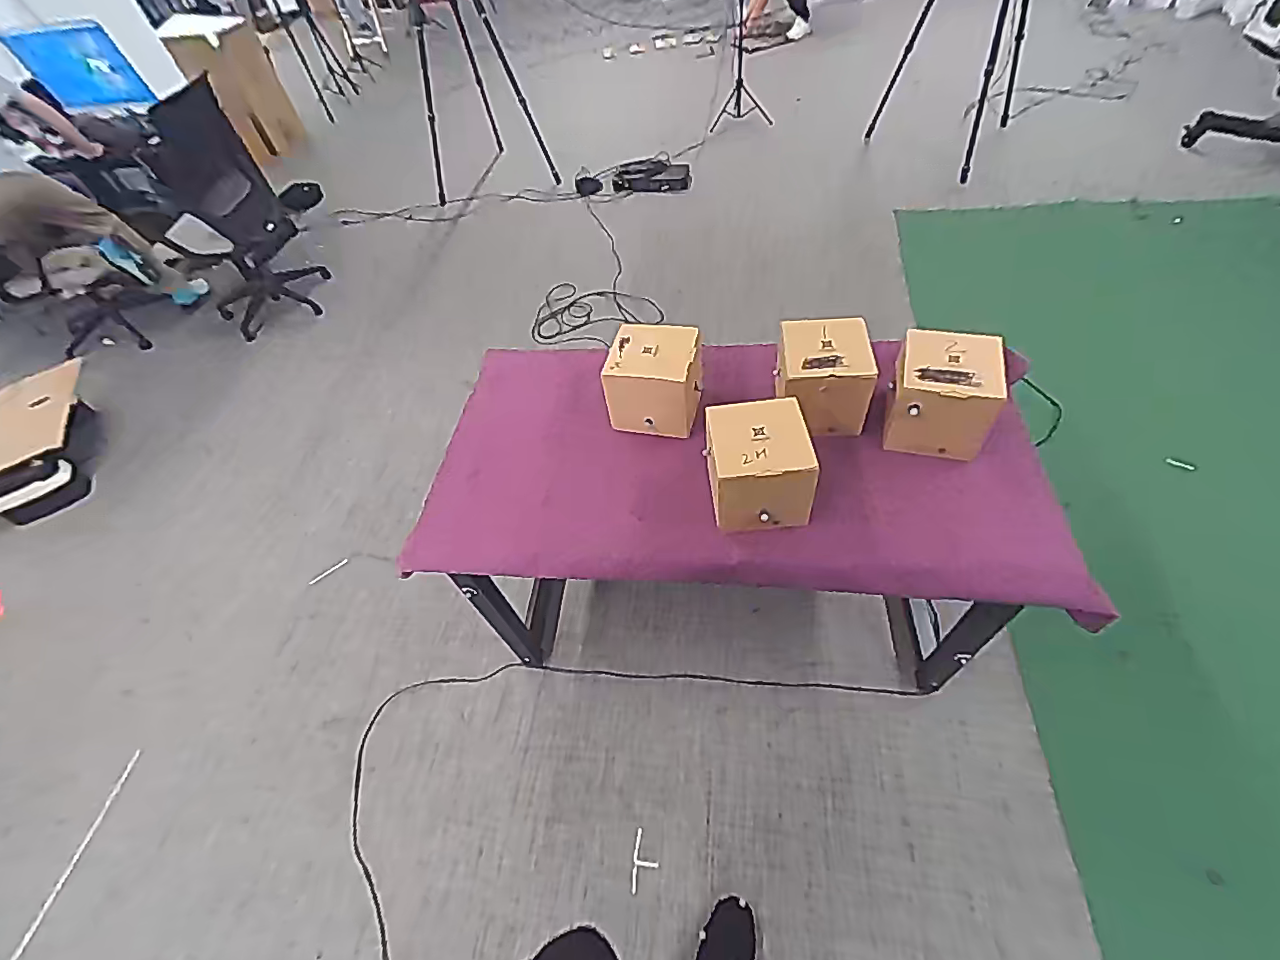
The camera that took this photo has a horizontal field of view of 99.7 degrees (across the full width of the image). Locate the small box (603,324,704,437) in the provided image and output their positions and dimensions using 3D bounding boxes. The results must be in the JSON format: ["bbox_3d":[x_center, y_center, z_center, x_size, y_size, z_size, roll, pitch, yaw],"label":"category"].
[{"bbox_3d":[0.038,-0.212,1.166,0.179,0.176,0.168,9,55,14],"label":"small box"}]

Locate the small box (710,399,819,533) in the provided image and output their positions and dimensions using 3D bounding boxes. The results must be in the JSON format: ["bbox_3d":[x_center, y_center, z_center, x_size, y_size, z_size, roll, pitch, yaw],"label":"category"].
[{"bbox_3d":[0.217,-0.023,0.993,0.168,0.176,0.179,-6,51,4],"label":"small box"}]
